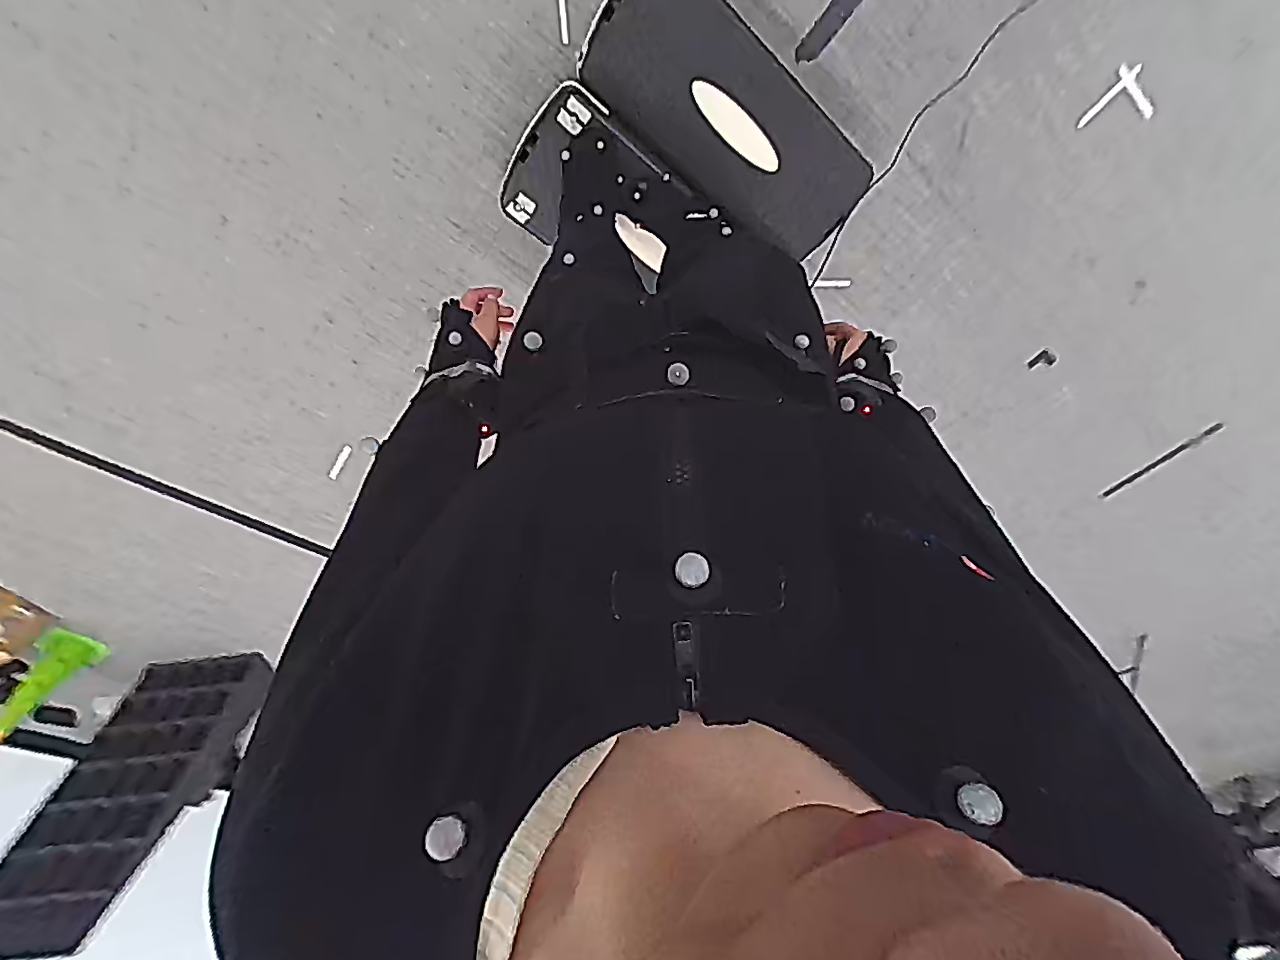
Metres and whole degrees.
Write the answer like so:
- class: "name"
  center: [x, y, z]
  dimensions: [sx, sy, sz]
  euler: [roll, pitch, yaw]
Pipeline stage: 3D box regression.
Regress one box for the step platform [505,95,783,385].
- class: "step platform"
  center: [0.025, -0.533, 1.286]
  dimensions: [0.684, 0.204, 0.286]
  euler: [35, 116, -24]
